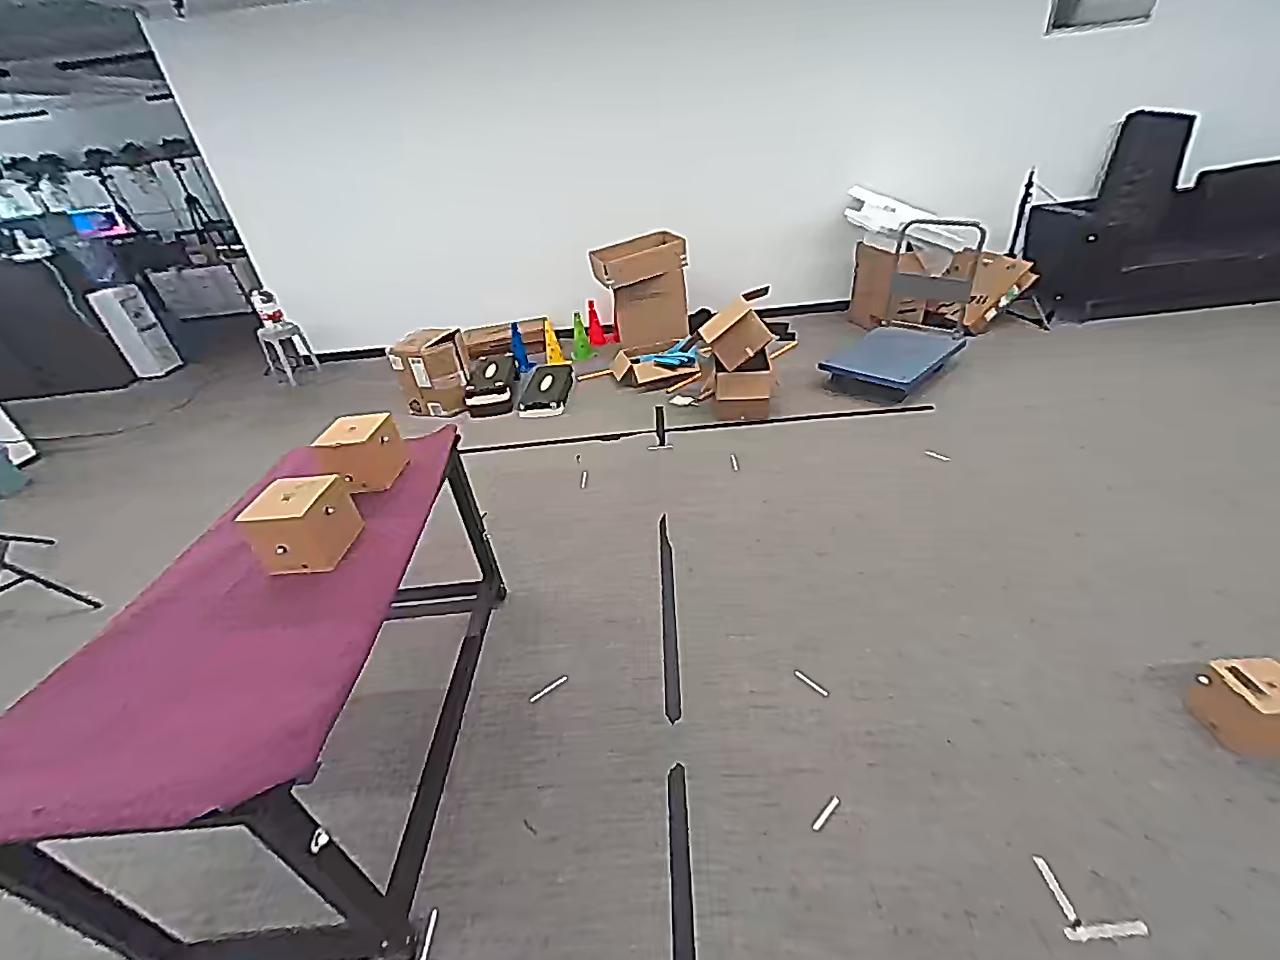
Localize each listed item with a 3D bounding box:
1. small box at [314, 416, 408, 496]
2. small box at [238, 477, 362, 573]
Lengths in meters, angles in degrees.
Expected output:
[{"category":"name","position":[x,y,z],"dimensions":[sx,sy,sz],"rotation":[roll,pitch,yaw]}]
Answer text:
[{"category":"small box","position":[-0.813,-0.071,1.601],"dimensions":[0.168,0.176,0.179],"rotation":[-5,34,5]},{"category":"small box","position":[-0.814,0.113,1.320],"dimensions":[0.168,0.176,0.179],"rotation":[-4,33,4]}]
